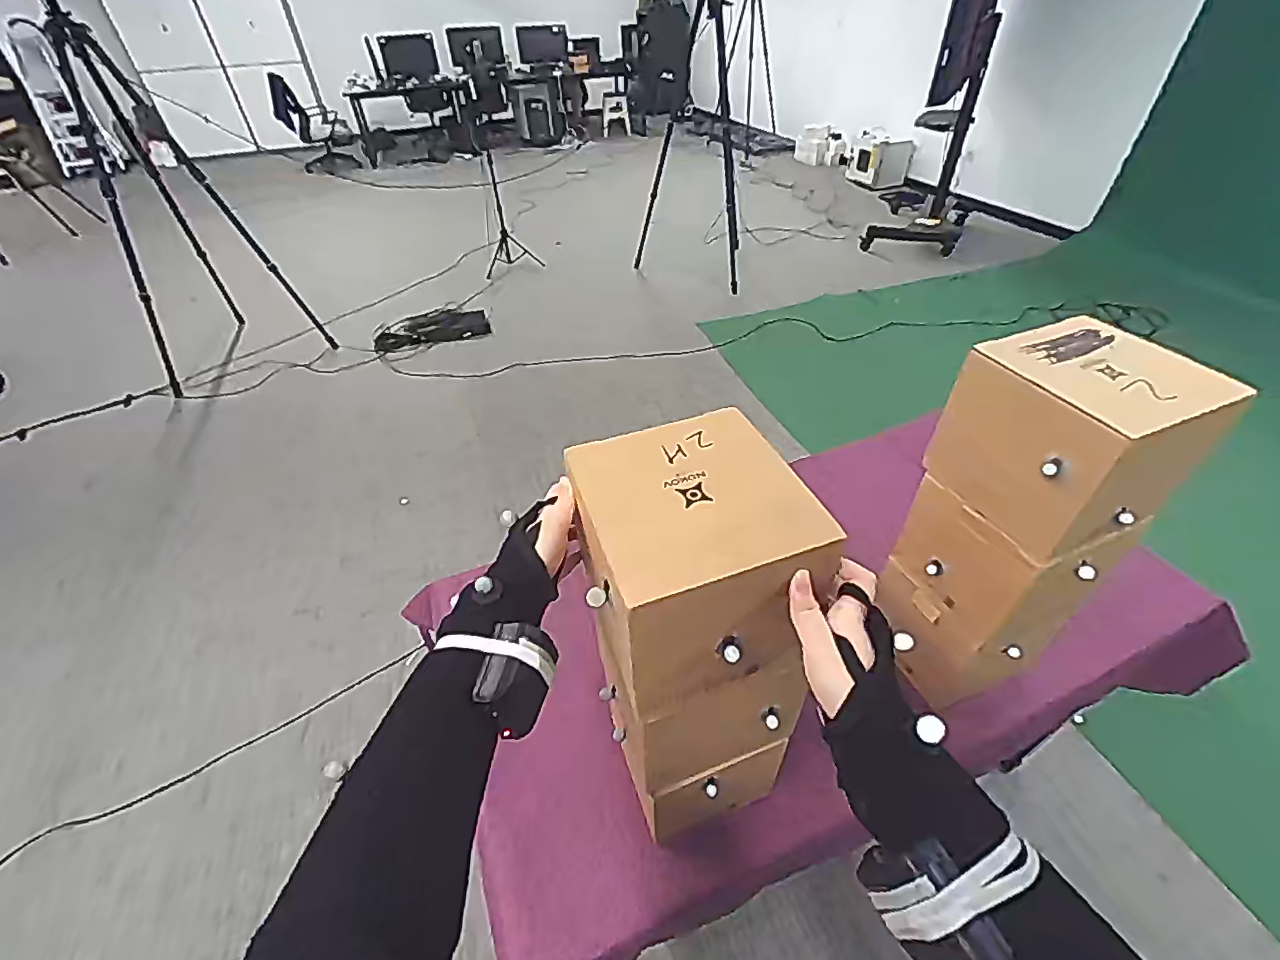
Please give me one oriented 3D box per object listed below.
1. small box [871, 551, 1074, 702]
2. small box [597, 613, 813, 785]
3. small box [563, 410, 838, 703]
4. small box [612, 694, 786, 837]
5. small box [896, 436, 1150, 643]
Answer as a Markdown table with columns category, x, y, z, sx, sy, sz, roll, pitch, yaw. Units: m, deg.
| category | x | y | z | sx | sy | sz | roll | pitch | yaw |
| --- | --- | --- | --- | --- | --- | --- | --- | --- | --- |
| small box | 0.470 | 0.196 | 0.800 | 0.179 | 0.176 | 0.168 | -16 | 44 | -15 |
| small box | 0.056 | 0.194 | 0.586 | 0.179 | 0.176 | 0.168 | -15 | 43 | -12 |
| small box | 0.041 | 0.069 | 0.474 | 0.168 | 0.176 | 0.179 | -15 | 44 | -13 |
| small box | 0.063 | 0.315 | 0.696 | 0.168 | 0.176 | 0.179 | -16 | 43 | -13 |
| small box | 0.466 | 0.075 | 0.691 | 0.179 | 0.176 | 0.168 | -18 | 45 | -14 |
